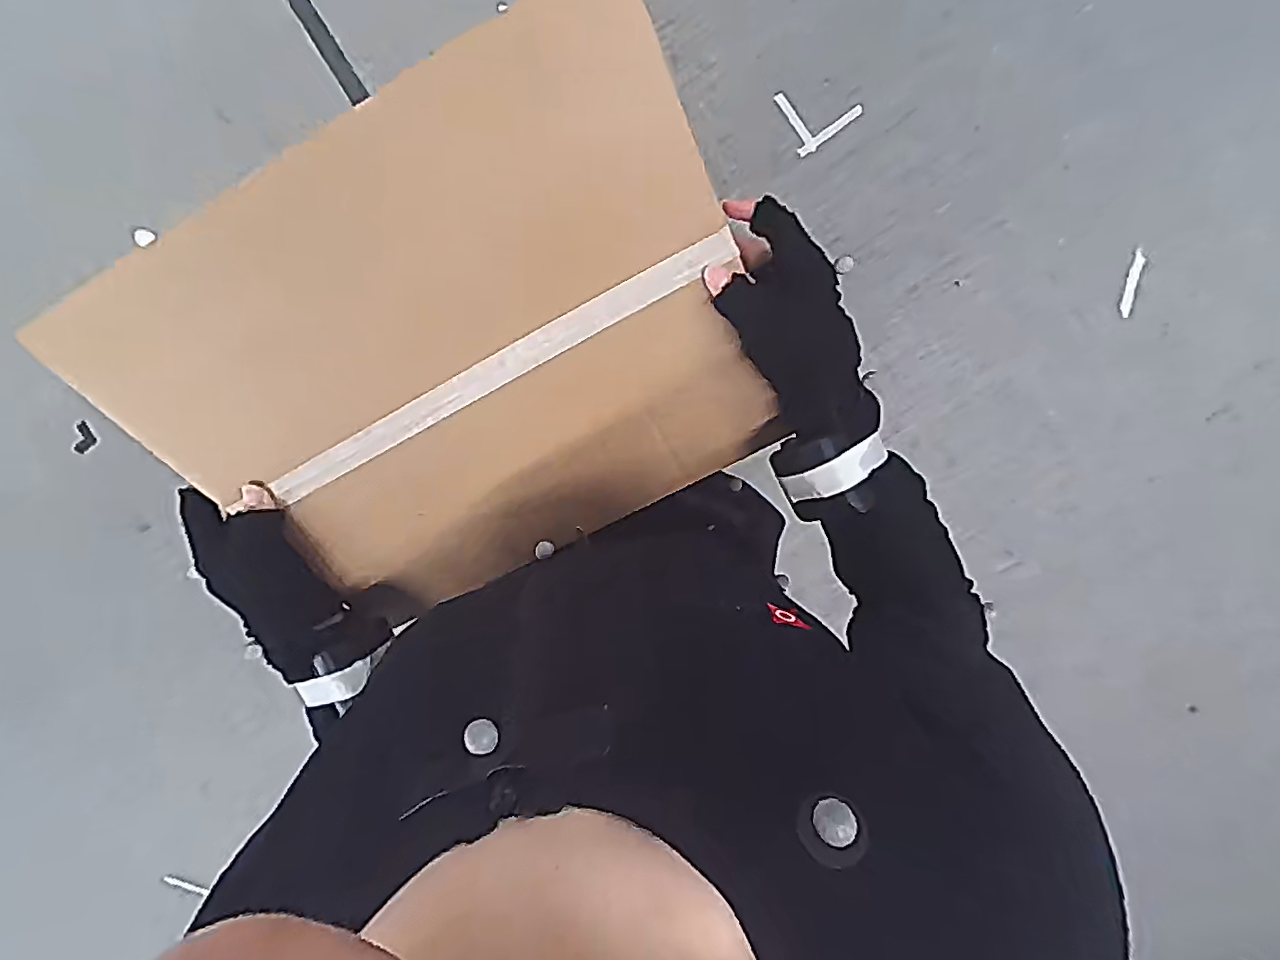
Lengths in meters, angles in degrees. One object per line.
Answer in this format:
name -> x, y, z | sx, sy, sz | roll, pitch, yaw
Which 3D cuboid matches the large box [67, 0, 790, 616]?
large box -> -0.139, -0.149, 0.509 | 0.408, 0.320, 0.320 | -26, 124, 8
